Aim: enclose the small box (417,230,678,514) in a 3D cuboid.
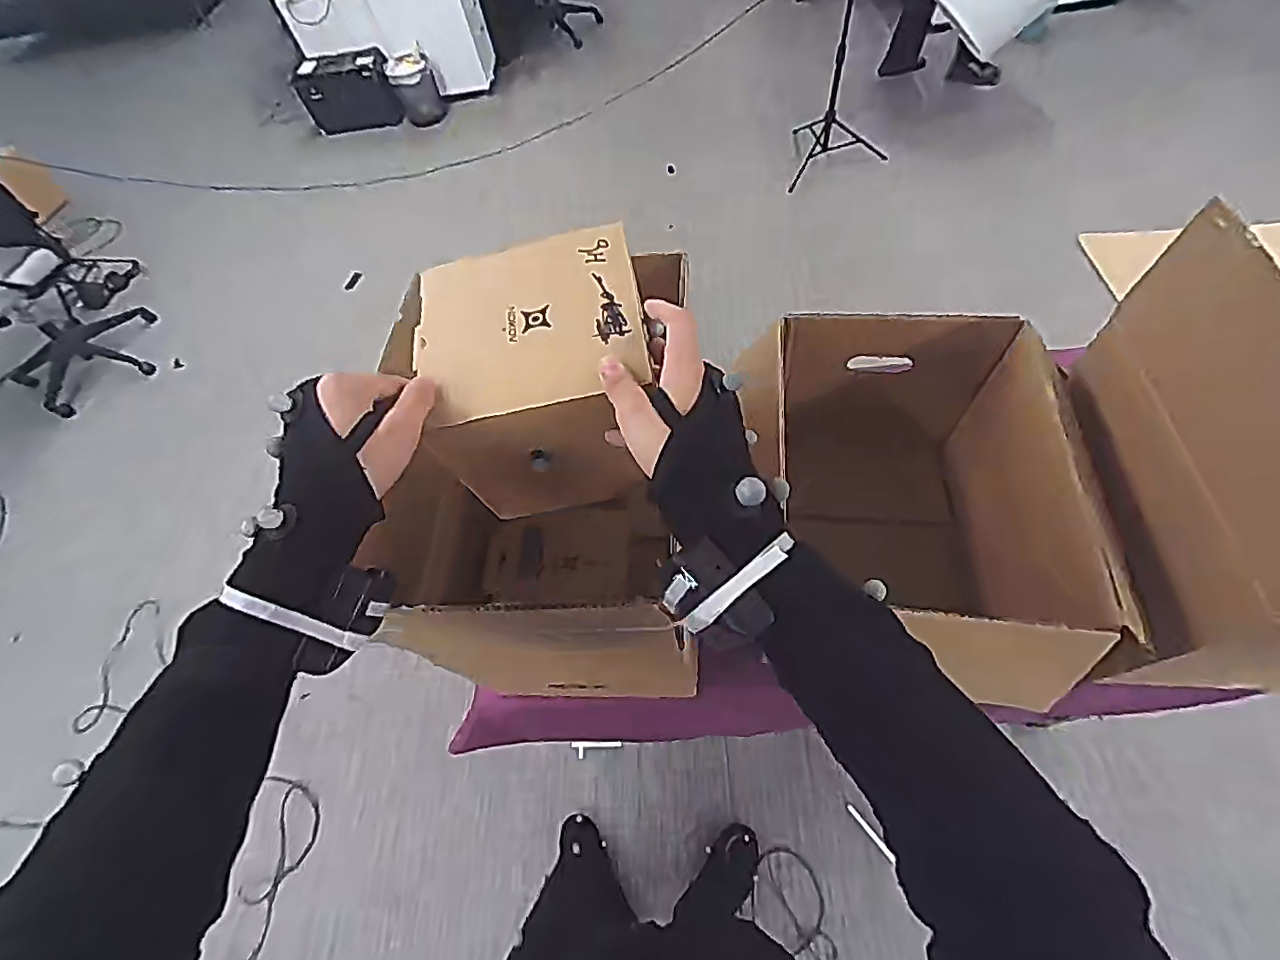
[{"bbox_3d":[-0.071,-0.082,0.486,0.179,0.176,0.168,-11,63,5],"label":"small box"}]
